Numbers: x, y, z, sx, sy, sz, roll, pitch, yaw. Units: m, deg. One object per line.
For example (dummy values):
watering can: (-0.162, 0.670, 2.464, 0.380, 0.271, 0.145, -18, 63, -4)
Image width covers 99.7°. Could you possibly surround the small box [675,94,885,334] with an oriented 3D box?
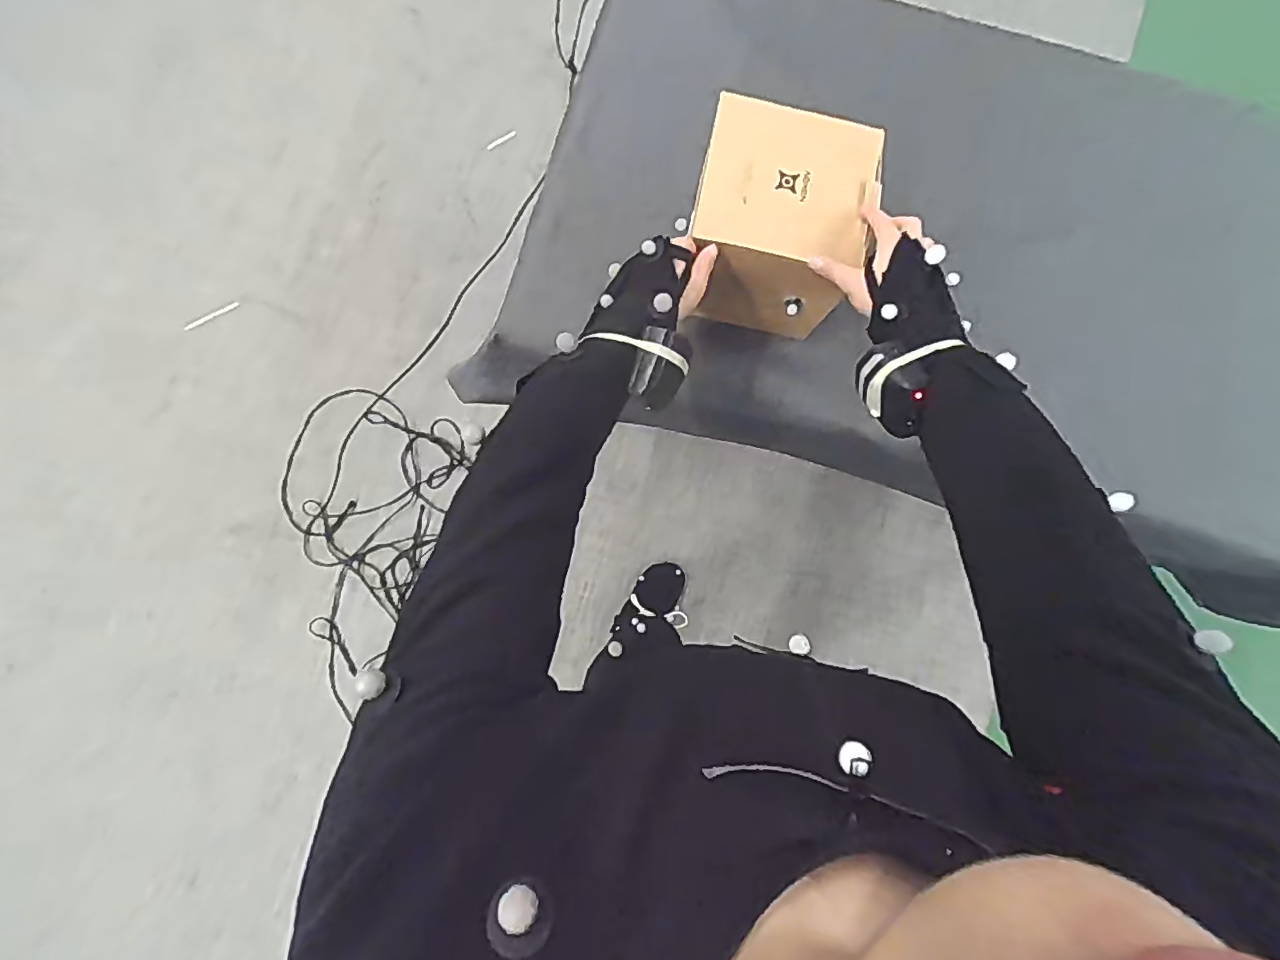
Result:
small box: (0.147, -0.284, 0.616, 0.179, 0.176, 0.168, 11, 81, -1)
